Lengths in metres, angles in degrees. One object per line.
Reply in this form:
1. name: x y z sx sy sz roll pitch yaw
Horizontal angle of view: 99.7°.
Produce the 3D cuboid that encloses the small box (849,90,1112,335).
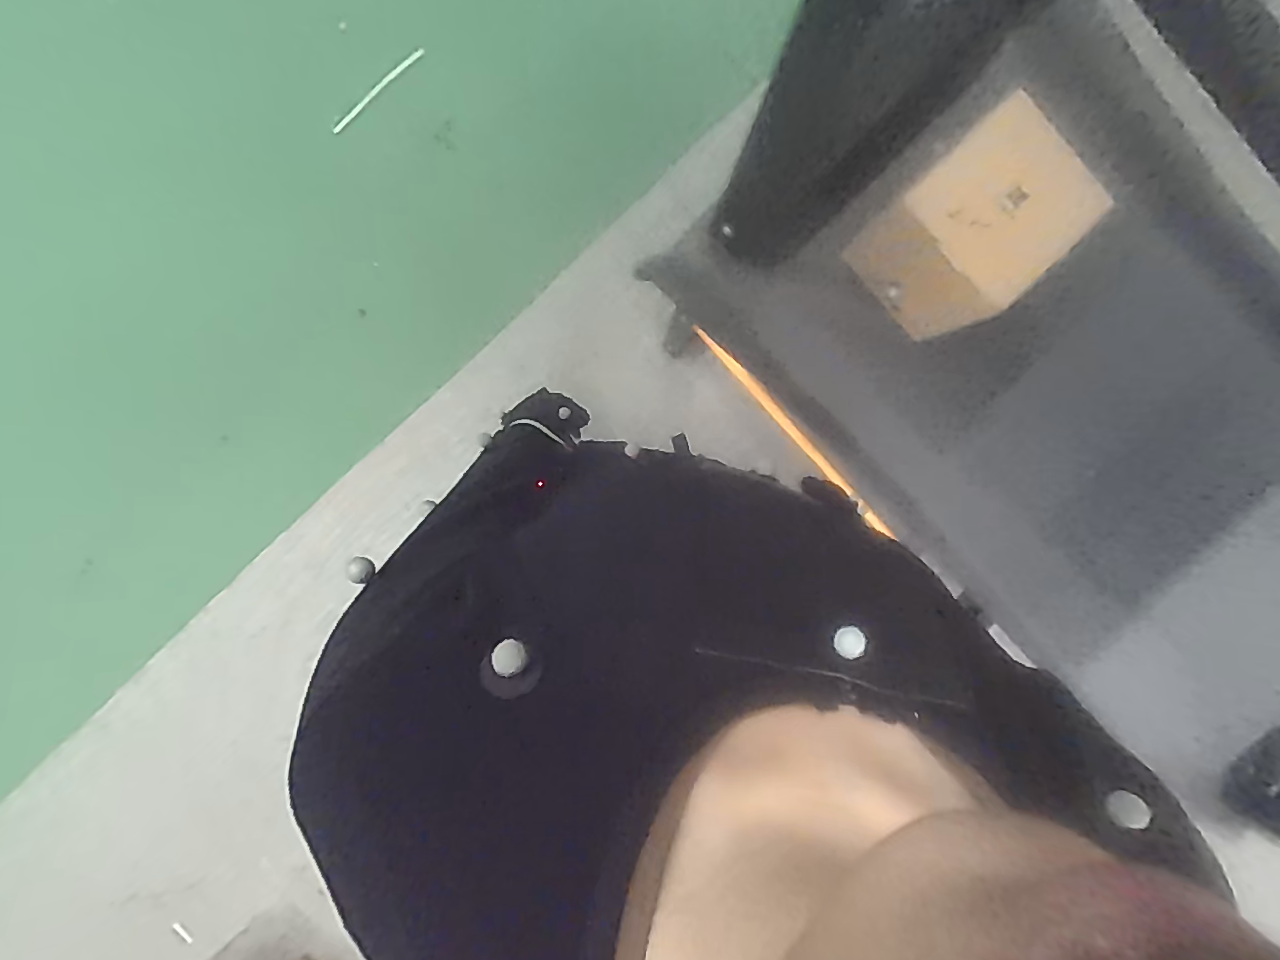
1. small box: 0.396 -0.308 0.663 0.179 0.176 0.168 -43 94 1
